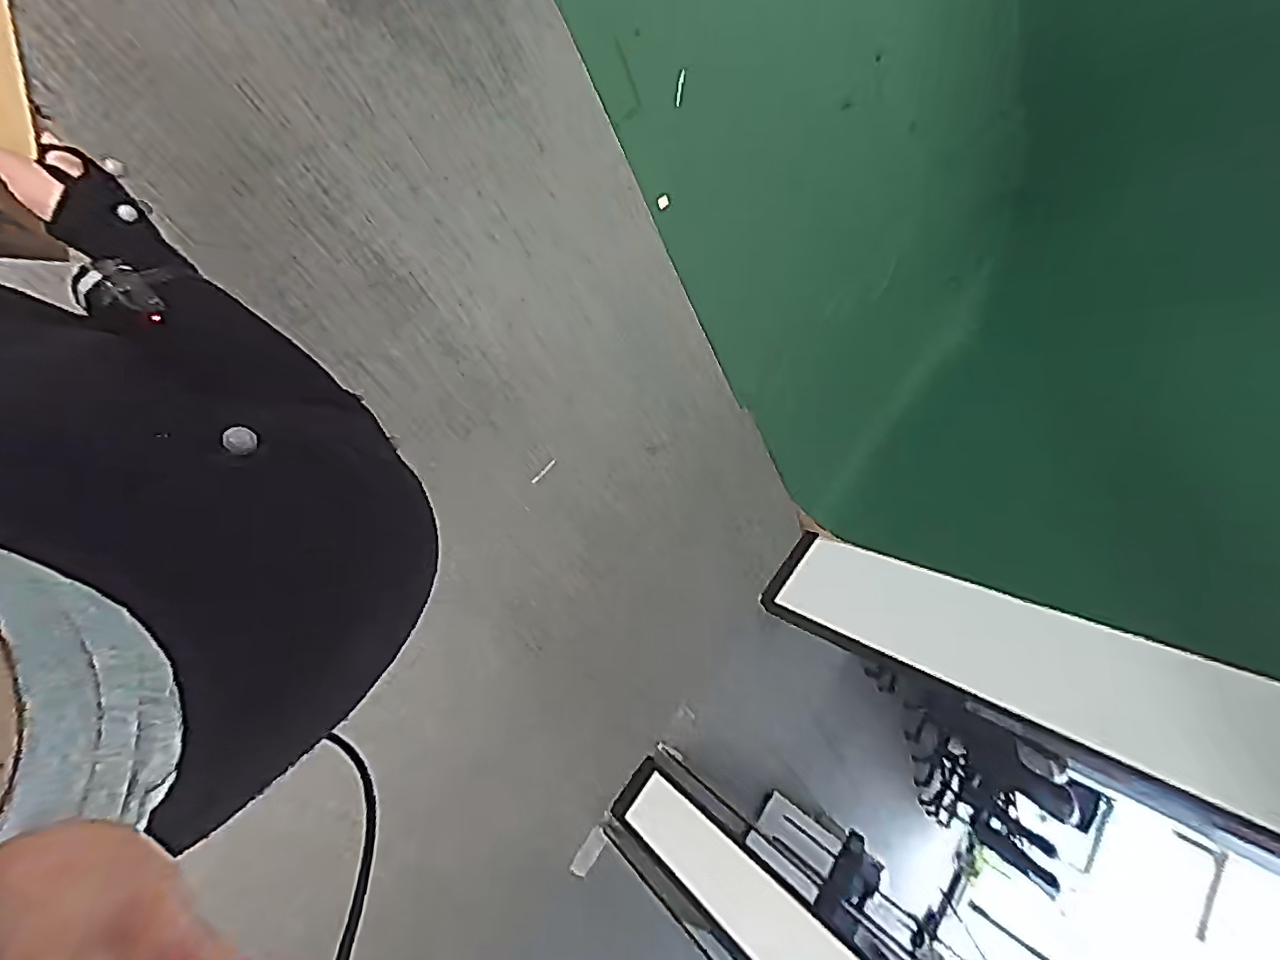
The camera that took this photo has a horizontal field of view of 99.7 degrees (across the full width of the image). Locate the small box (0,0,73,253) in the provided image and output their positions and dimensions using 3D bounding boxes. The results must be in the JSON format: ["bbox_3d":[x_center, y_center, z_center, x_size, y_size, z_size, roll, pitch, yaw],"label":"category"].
[{"bbox_3d":[-0.634,-0.322,0.467,0.168,0.176,0.179,-14,86,-42],"label":"small box"}]
